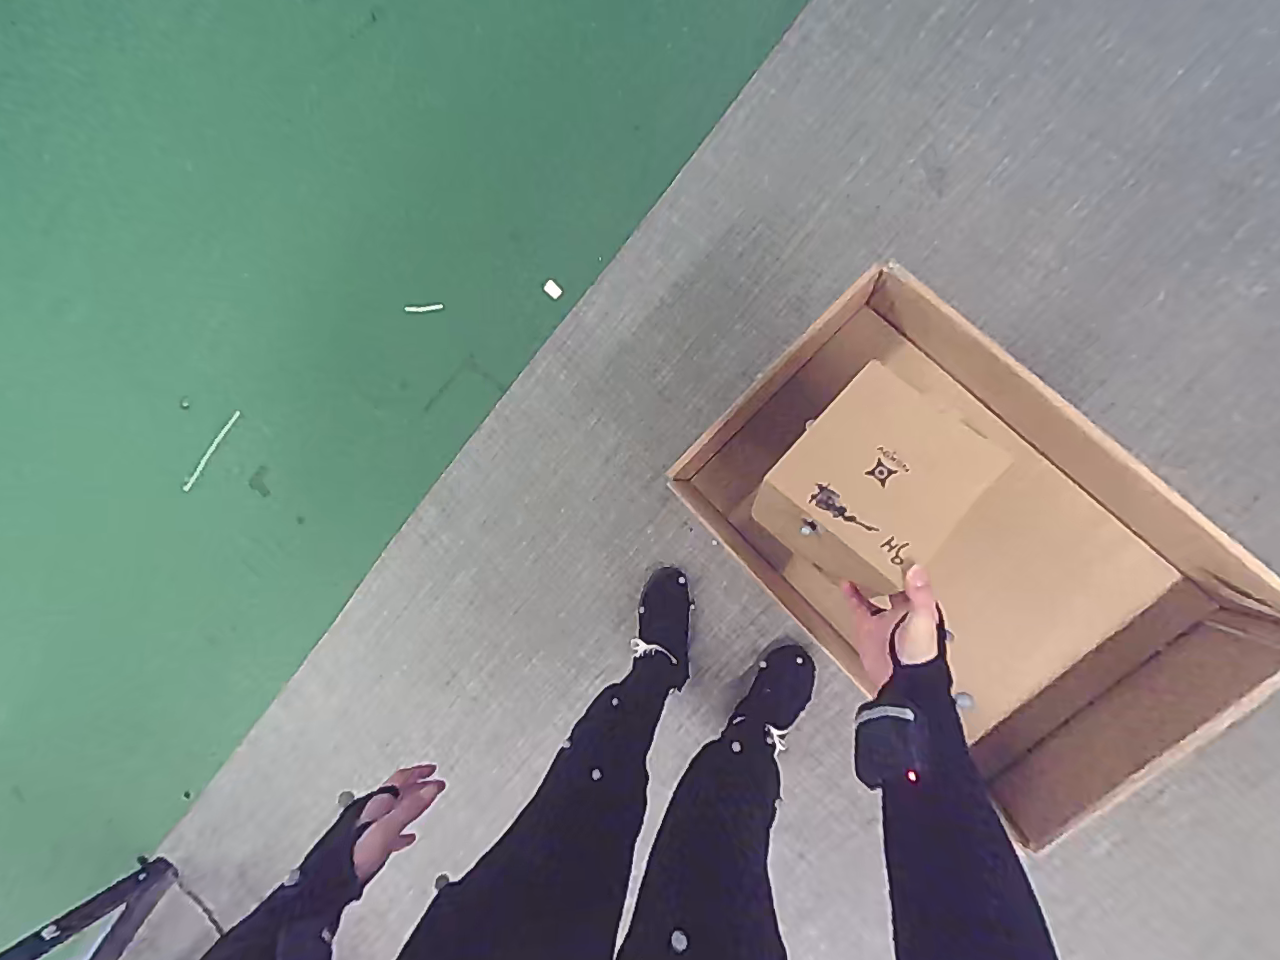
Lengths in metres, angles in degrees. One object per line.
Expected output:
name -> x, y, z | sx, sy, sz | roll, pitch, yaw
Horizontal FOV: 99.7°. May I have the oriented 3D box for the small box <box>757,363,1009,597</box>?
small box -> 0.249, 0.011, 0.606 | 0.168, 0.176, 0.179 | 42, 82, 16
